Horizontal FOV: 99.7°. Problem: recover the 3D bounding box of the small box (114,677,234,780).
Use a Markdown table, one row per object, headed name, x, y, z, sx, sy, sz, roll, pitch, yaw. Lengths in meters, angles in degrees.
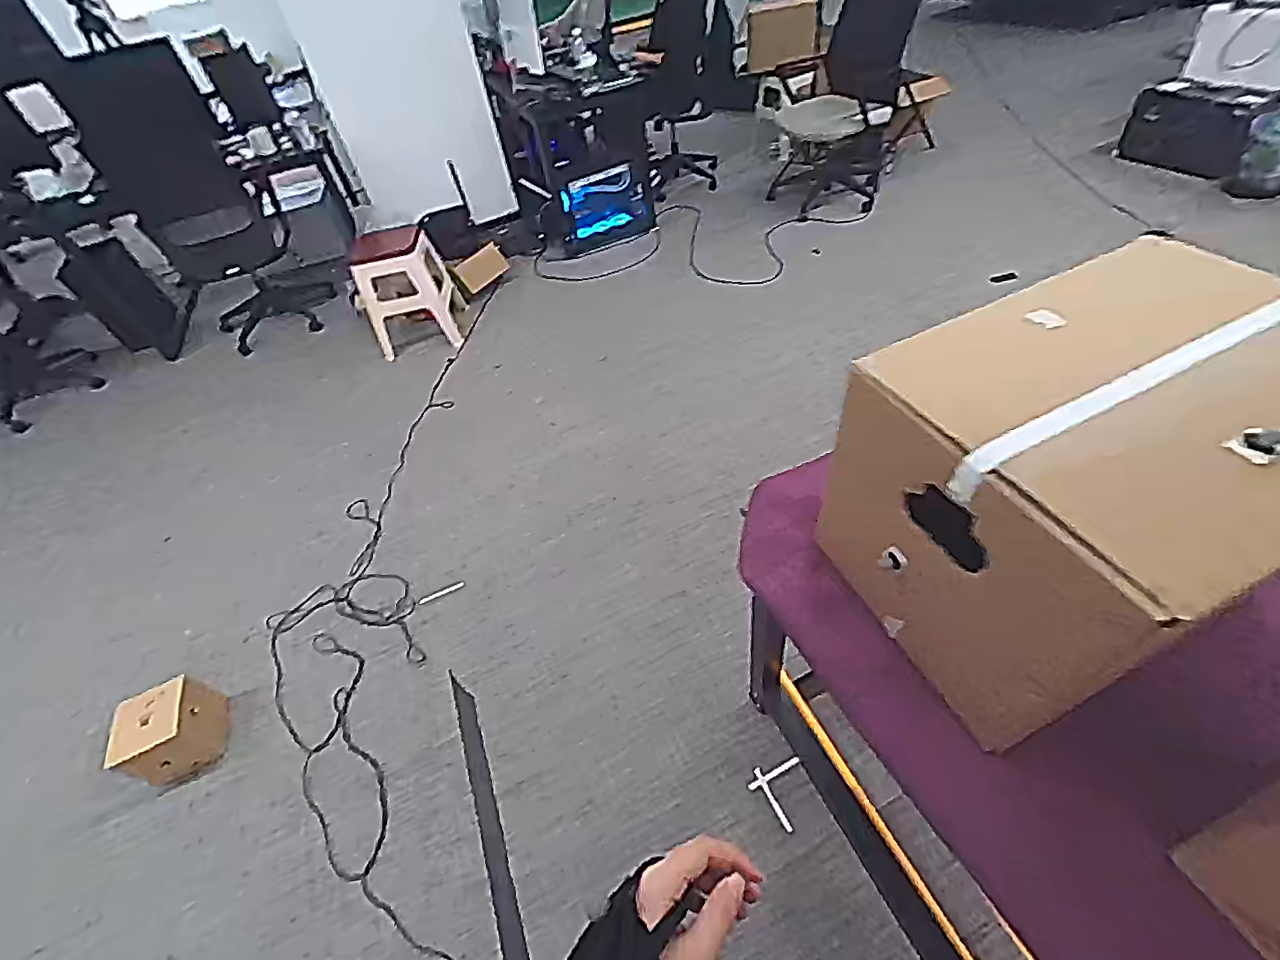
| name | x | y | z | sx | sy | sz | roll | pitch | yaw |
| --- | --- | --- | --- | --- | --- | --- | --- | --- | --- |
| small box | -1.206 | 0.657 | 1.415 | 0.168 | 0.176 | 0.179 | -25 | 48 | -11 |
